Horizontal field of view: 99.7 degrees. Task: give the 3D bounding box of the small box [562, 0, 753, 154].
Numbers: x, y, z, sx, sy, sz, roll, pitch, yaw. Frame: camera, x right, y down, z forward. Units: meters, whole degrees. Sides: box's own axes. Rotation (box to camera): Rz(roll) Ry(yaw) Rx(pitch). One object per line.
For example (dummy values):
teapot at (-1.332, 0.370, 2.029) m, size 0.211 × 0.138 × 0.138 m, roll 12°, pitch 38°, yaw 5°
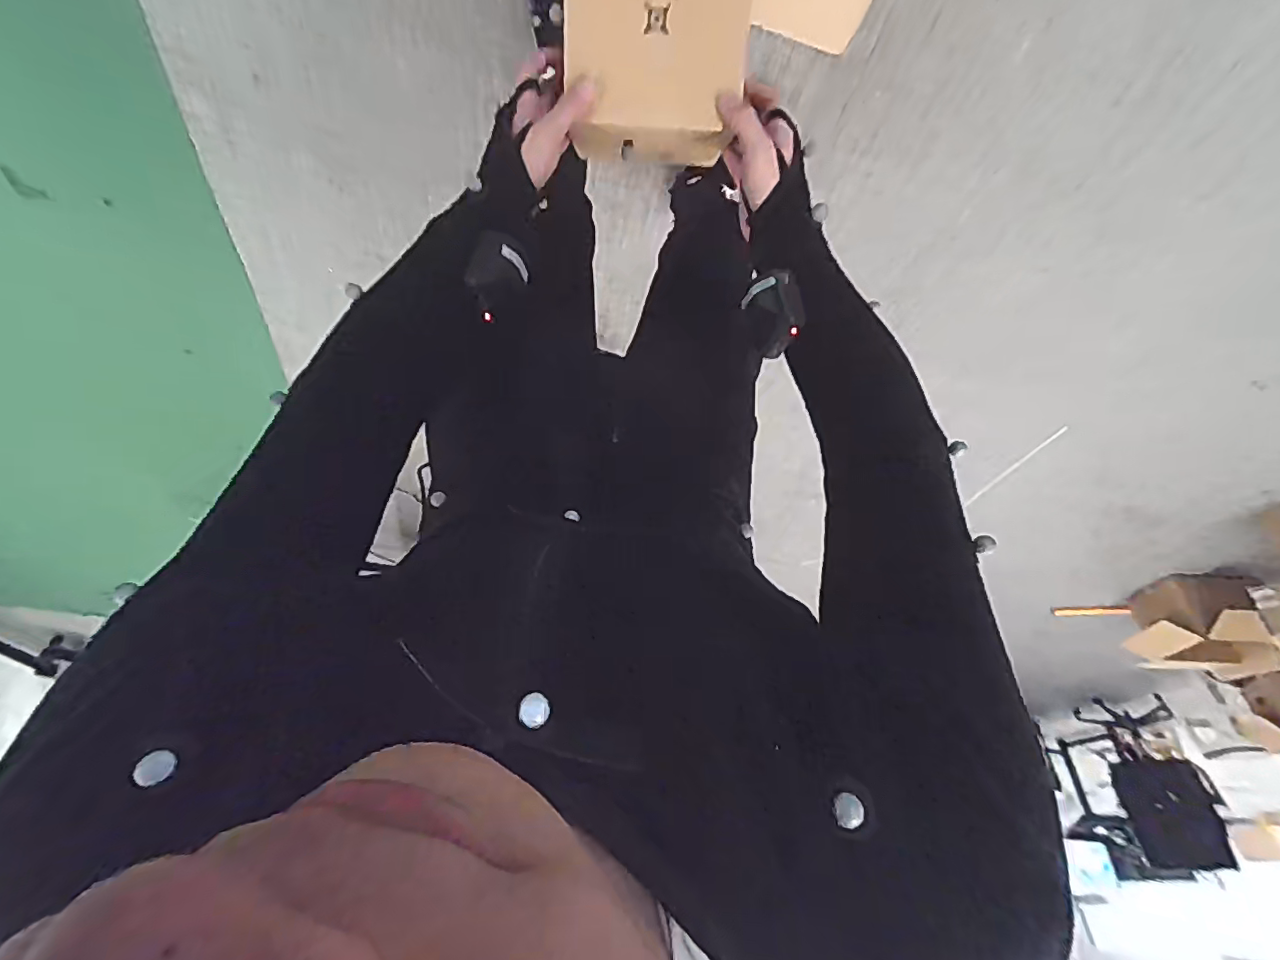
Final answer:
small box at (0.016, -0.439, 0.535) m, size 0.168 × 0.176 × 0.179 m, roll 3°, pitch 110°, yaw -2°
